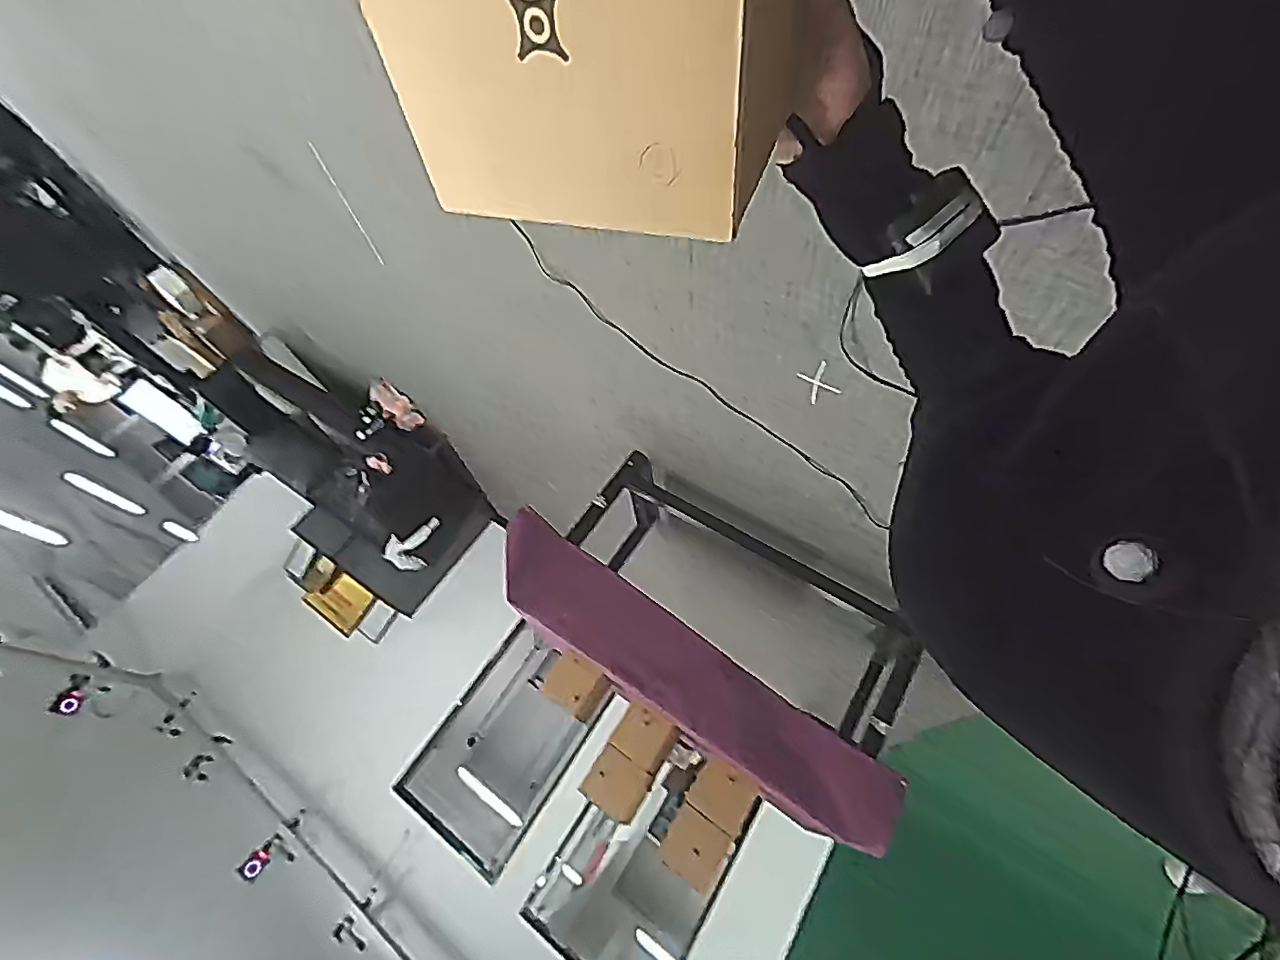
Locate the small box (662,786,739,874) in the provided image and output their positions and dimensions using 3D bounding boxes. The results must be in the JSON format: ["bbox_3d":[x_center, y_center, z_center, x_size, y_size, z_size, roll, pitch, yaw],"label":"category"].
[{"bbox_3d":[0.191,1.082,1.688,0.179,0.176,0.168,27,157,22],"label":"small box"}]

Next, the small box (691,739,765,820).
[{"bbox_3d":[0.284,0.958,1.746,0.179,0.176,0.168,28,158,23],"label":"small box"}]

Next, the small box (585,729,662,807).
[{"bbox_3d":[-0.050,0.952,1.799,0.179,0.176,0.168,26,158,26],"label":"small box"}]

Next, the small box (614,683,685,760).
[{"bbox_3d":[0.039,0.829,1.860,0.168,0.176,0.179,25,156,27],"label":"small box"}]

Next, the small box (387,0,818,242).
[{"bbox_3d":[-0.004,-0.250,0.262,0.168,0.176,0.179,13,148,16],"label":"small box"}]
